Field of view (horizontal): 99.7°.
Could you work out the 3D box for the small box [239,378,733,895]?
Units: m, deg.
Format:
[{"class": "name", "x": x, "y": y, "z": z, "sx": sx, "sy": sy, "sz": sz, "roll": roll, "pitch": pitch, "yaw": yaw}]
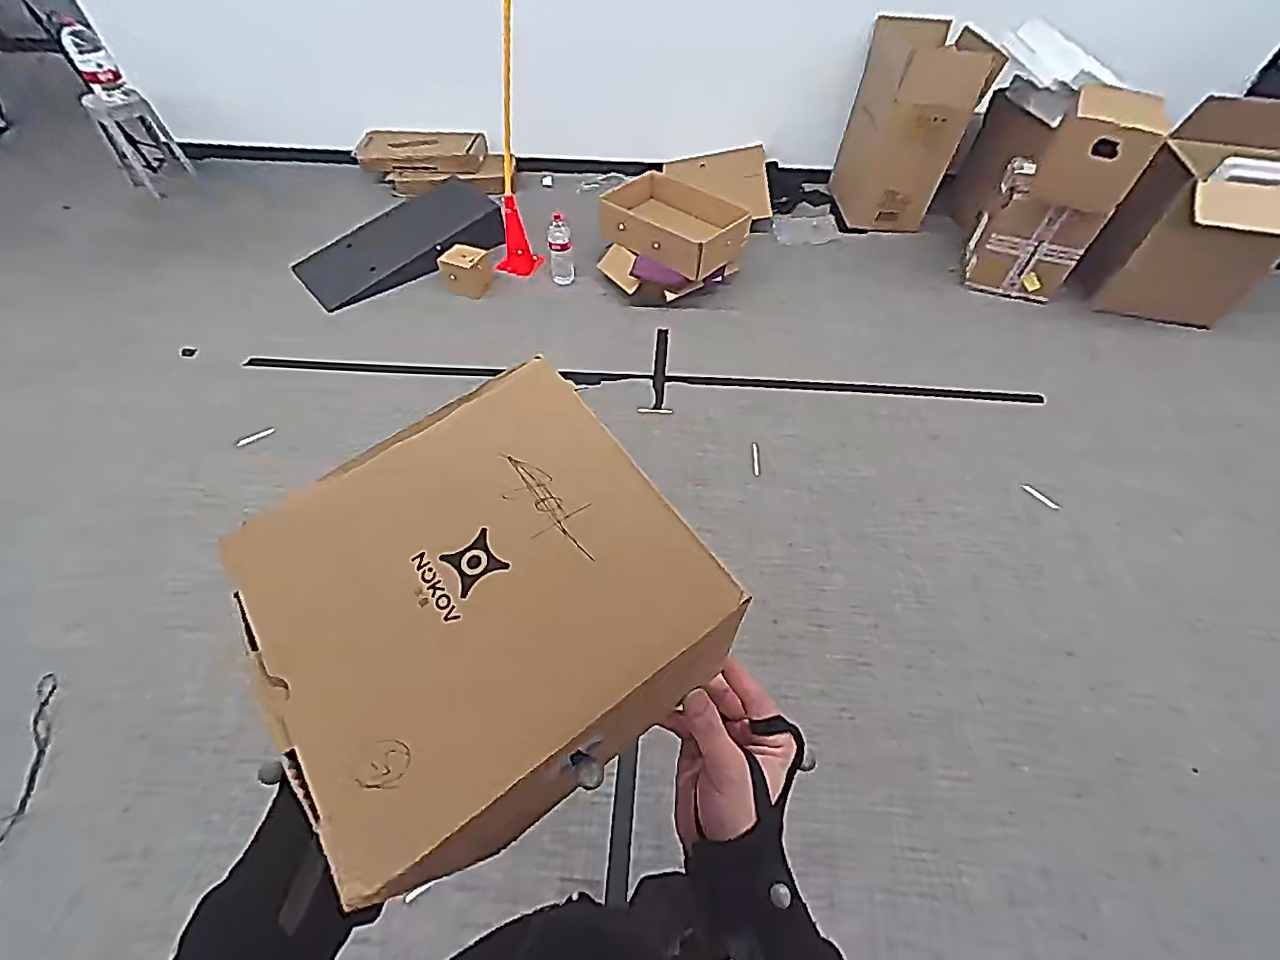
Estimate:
[{"class": "small box", "x": -0.068, "y": 0.084, "z": 0.311, "sx": 0.179, "sy": 0.176, "sz": 0.168, "roll": -34, "pitch": 65, "yaw": -15}]
